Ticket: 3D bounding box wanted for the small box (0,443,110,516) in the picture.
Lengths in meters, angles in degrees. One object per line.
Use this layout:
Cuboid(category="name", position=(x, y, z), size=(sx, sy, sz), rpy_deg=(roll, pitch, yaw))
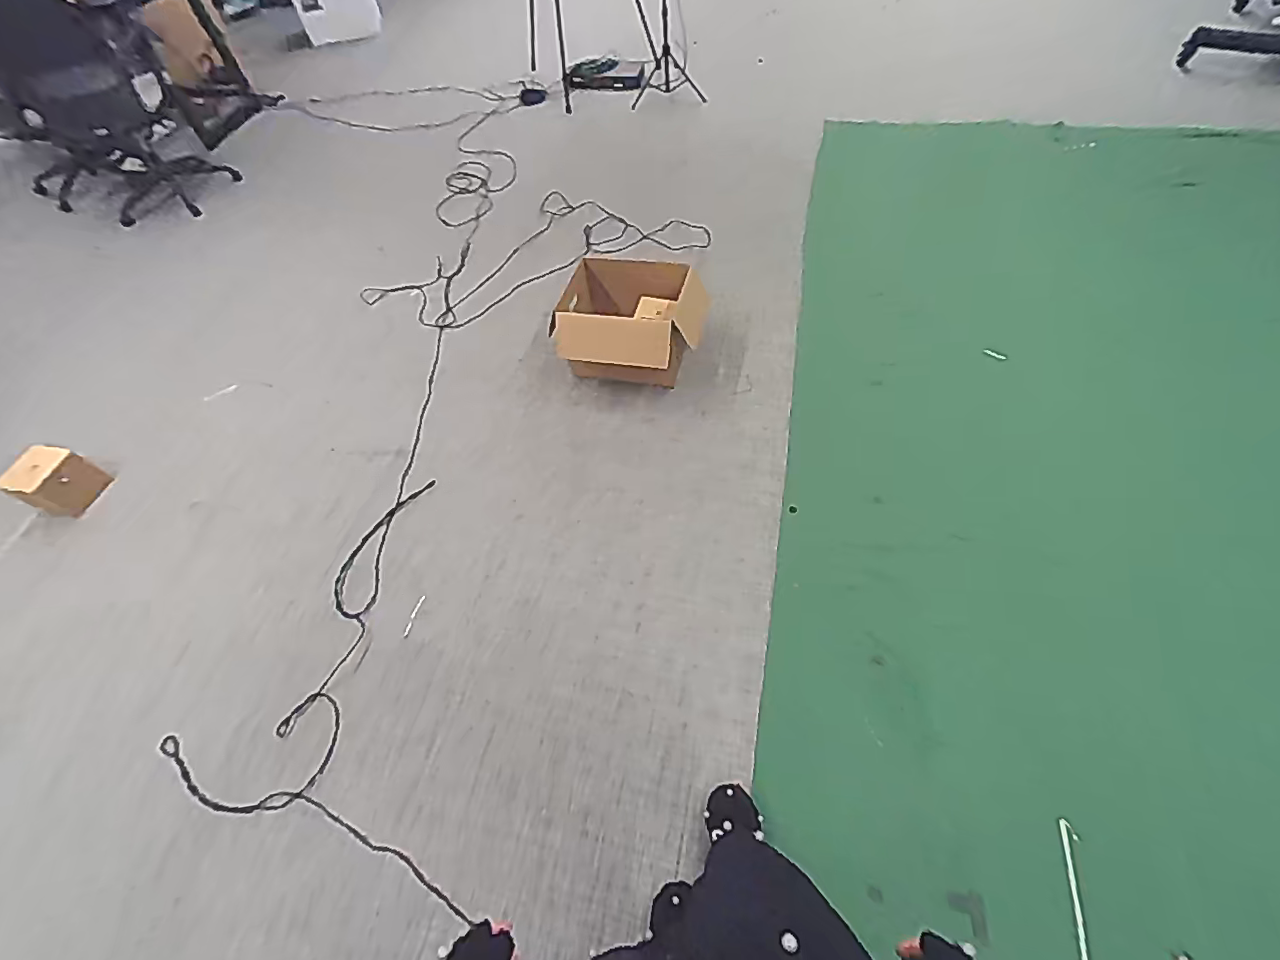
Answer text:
Cuboid(category="small box", position=(-1.991, 0.000, 1.850), size=(0.168, 0.176, 0.179), rpy_deg=(7, 59, 10))
